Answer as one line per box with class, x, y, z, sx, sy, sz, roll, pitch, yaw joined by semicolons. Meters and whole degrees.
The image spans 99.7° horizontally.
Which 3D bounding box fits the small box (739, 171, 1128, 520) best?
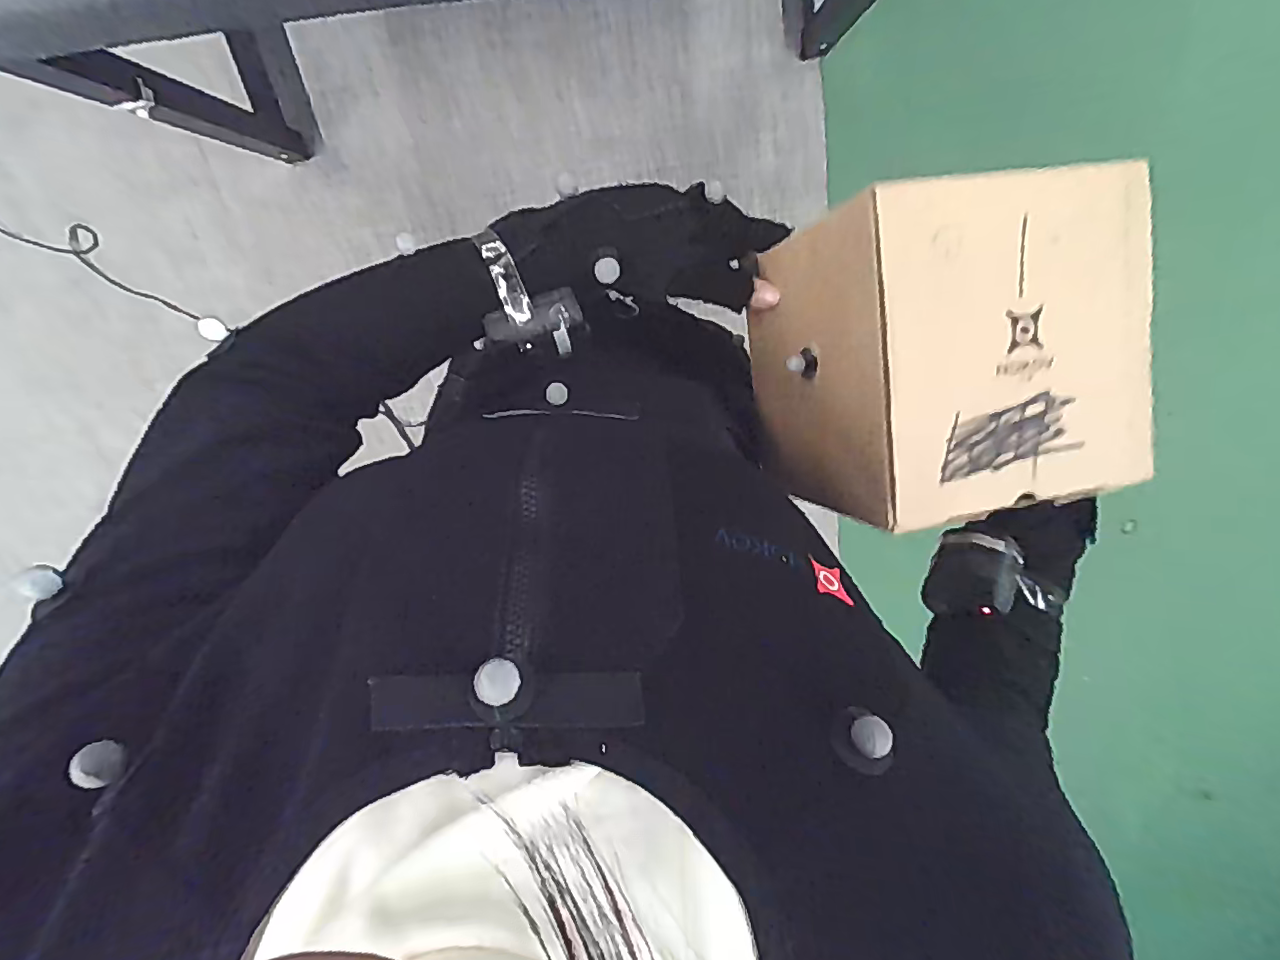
small box;0.180;-0.084;0.373;0.168;0.176;0.179;-9;98;-11
